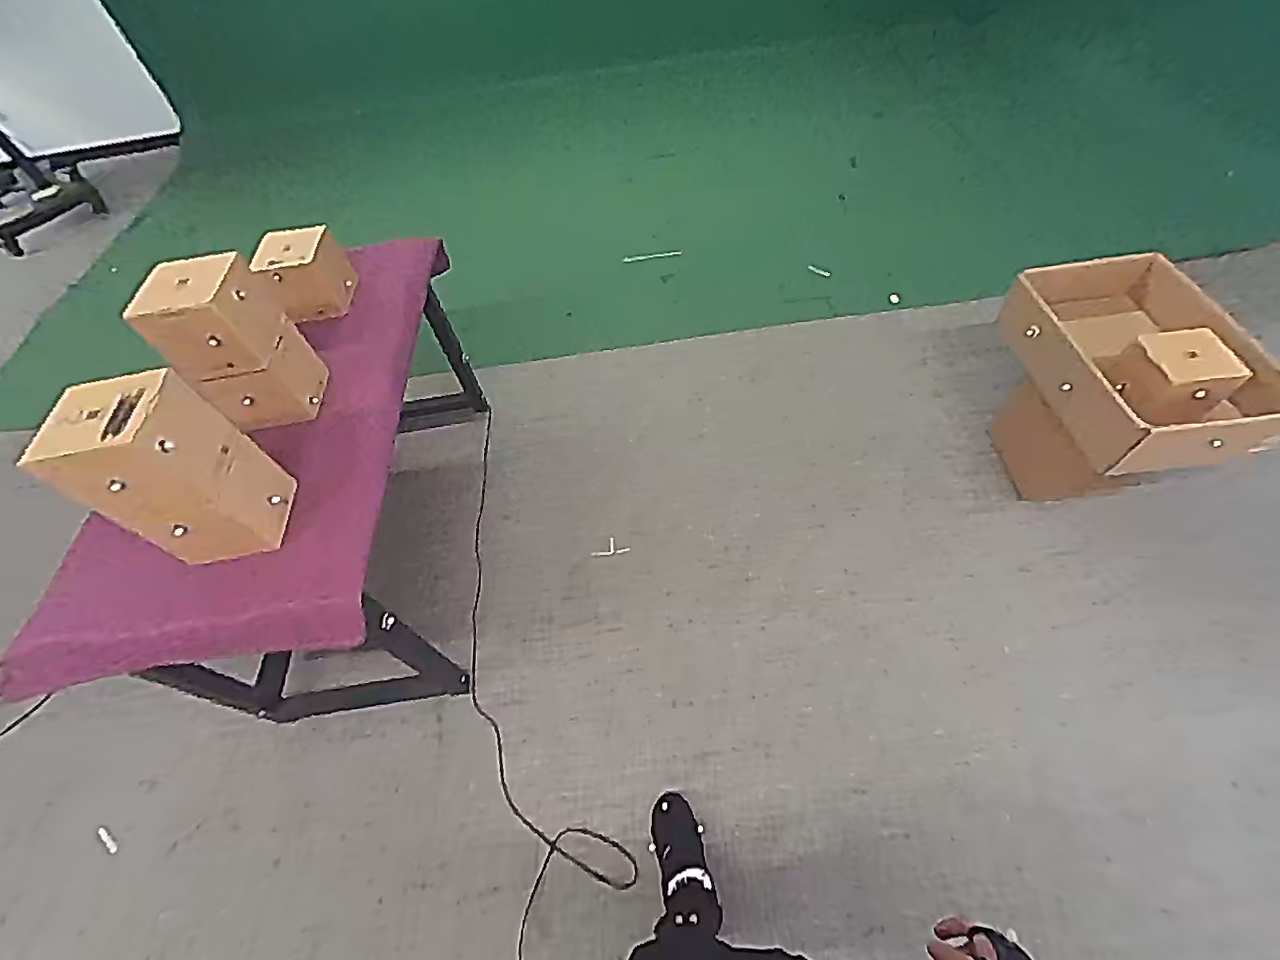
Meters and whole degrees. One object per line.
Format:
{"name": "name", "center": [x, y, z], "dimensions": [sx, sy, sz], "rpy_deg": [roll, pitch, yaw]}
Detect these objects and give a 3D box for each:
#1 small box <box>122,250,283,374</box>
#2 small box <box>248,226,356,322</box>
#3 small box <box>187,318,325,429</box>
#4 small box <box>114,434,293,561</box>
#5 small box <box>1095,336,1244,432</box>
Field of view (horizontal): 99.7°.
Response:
{"name": "small box", "center": [-0.867, -0.332, 1.096], "dimensions": [0.168, 0.176, 0.179], "rpy_deg": [-8, 54, -1]}
{"name": "small box", "center": [-0.898, -0.552, 1.456], "dimensions": [0.168, 0.176, 0.179], "rpy_deg": [-8, 54, 1]}
{"name": "small box", "center": [-0.855, -0.238, 1.228], "dimensions": [0.179, 0.176, 0.168], "rpy_deg": [-9, 54, 1]}
{"name": "small box", "center": [-0.808, 0.039, 1.024], "dimensions": [0.179, 0.176, 0.168], "rpy_deg": [-10, 54, -1]}
{"name": "small box", "center": [1.322, -0.239, 1.368], "dimensions": [0.179, 0.176, 0.168], "rpy_deg": [-6, 55, 3]}
